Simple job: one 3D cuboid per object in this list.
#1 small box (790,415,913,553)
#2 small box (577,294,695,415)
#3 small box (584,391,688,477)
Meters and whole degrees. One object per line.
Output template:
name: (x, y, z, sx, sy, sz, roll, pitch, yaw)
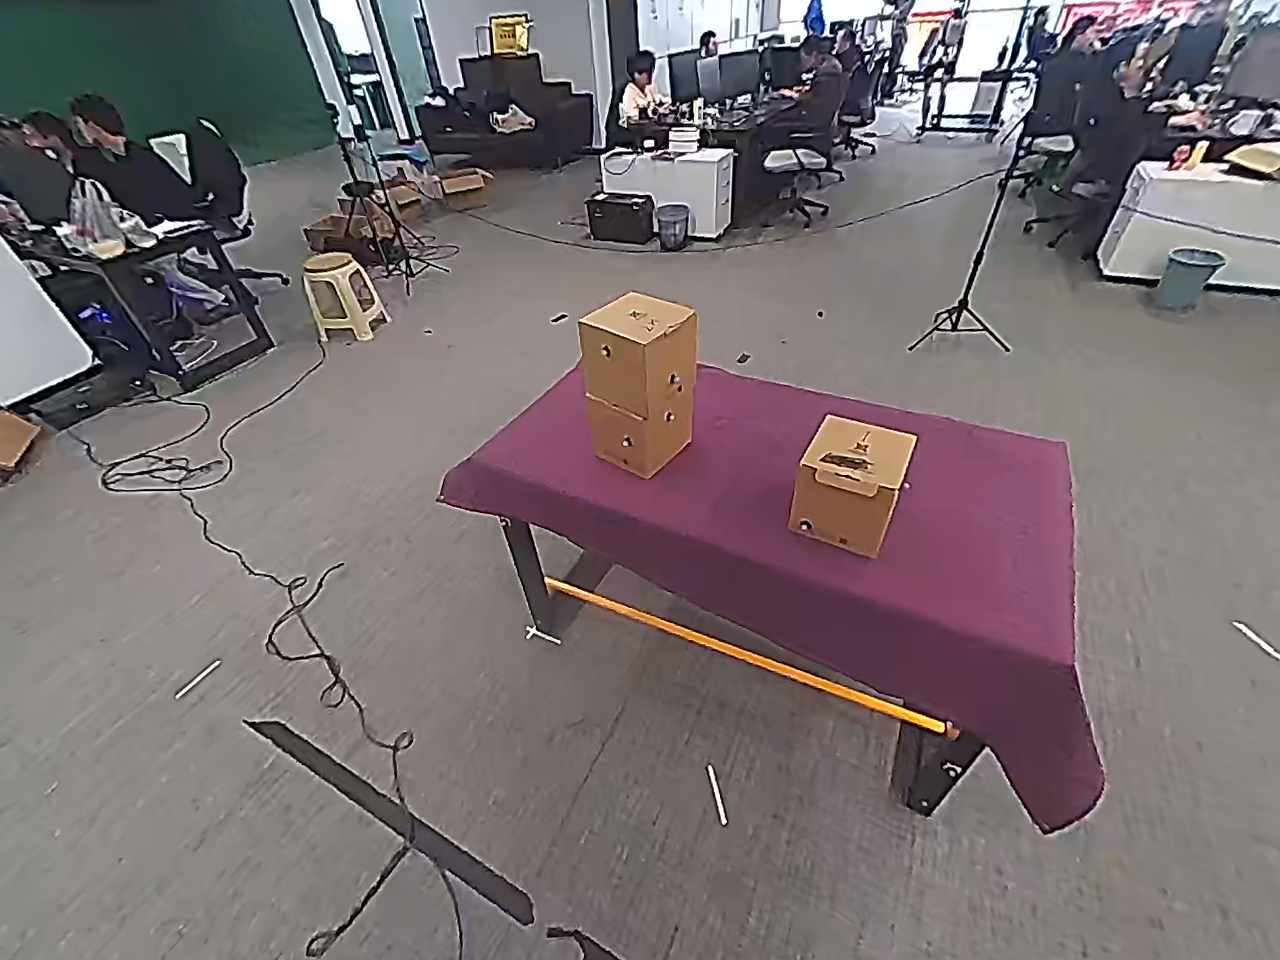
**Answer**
small box: (0.391, 0.009, 1.017, 0.168, 0.176, 0.179, 19, 45, 25)
small box: (-0.005, -0.257, 1.110, 0.179, 0.176, 0.168, 28, 51, 30)
small box: (-0.001, -0.135, 1.220, 0.168, 0.176, 0.179, 27, 50, 30)
